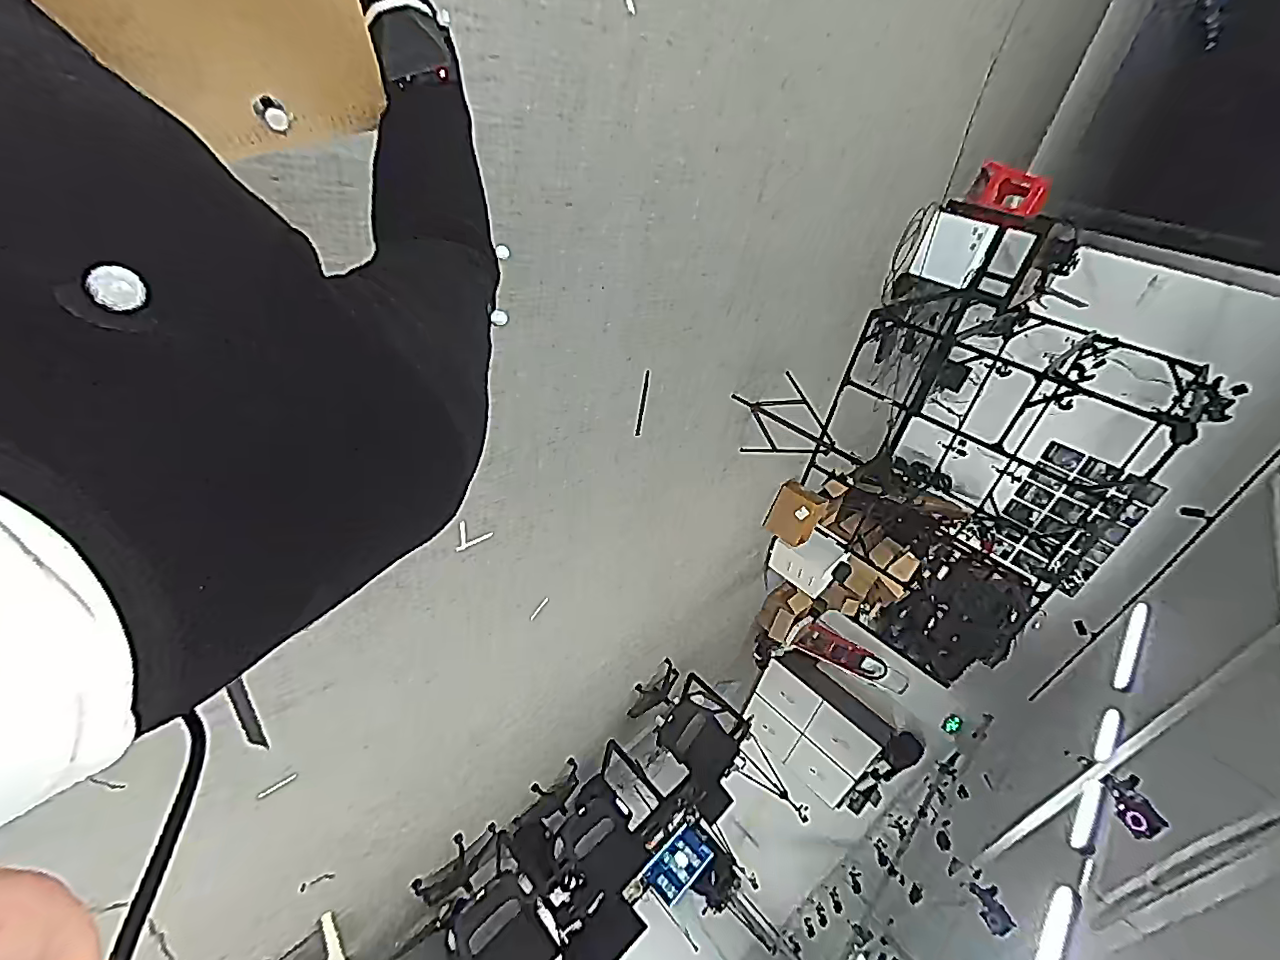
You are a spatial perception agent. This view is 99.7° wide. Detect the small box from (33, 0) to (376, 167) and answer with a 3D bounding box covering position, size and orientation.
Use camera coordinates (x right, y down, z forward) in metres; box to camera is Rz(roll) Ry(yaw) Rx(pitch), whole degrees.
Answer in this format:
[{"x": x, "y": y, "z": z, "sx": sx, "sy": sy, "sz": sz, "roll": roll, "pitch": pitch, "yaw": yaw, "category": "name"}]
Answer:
[{"x": -0.314, "y": -0.369, "z": 0.390, "sx": 0.179, "sy": 0.168, "sz": 0.176, "roll": -24, "pitch": 177, "yaw": -15, "category": "small box"}]
